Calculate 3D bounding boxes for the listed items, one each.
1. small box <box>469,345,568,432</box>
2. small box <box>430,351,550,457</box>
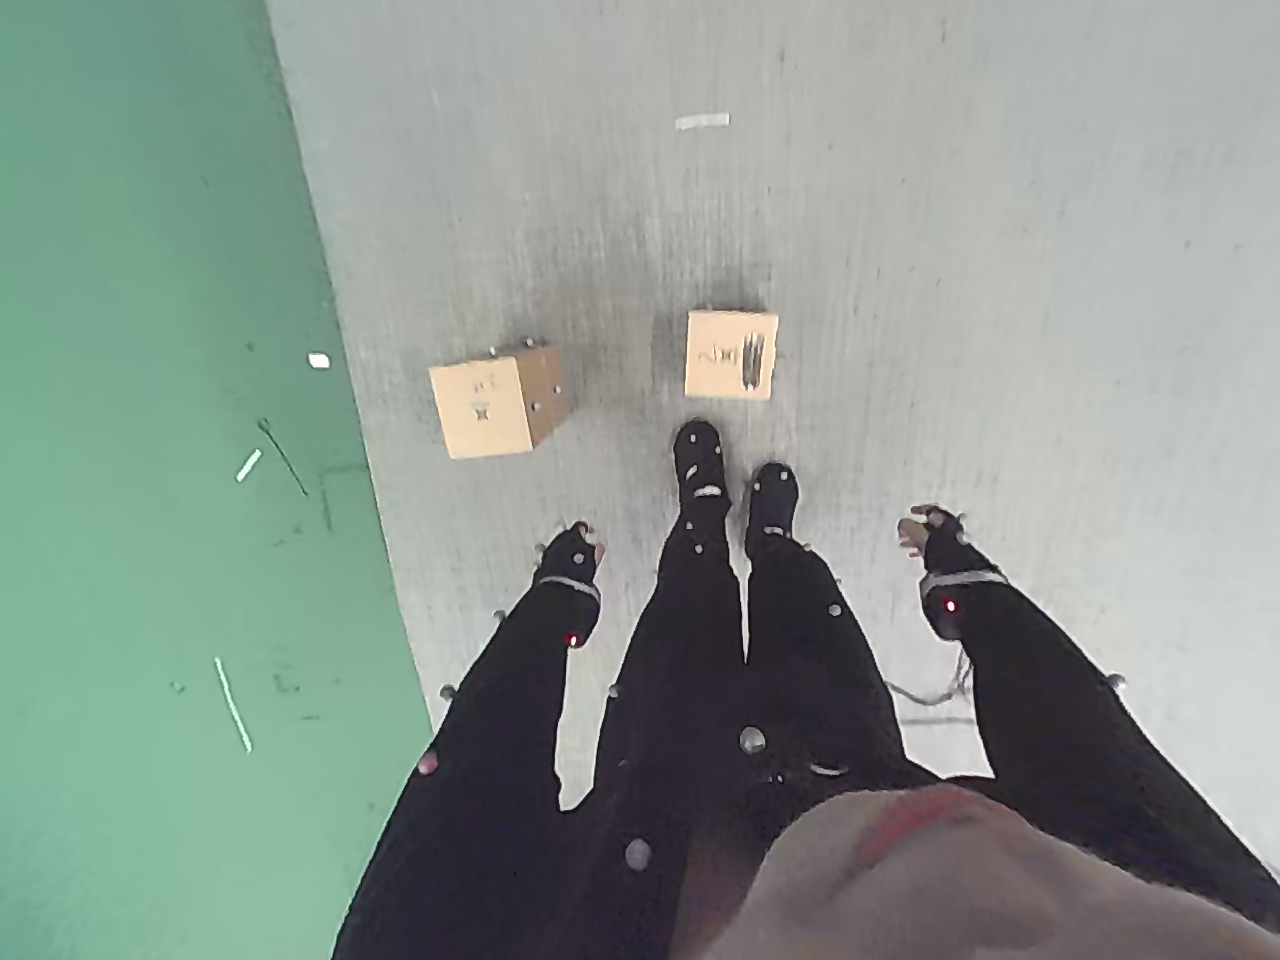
[{"bbox_3d":[-0.266,-0.208,1.227,0.168,0.176,0.179,-3,107,7],"label":"small box"},{"bbox_3d":[-0.286,-0.154,1.072,0.168,0.176,0.179,-4,107,7],"label":"small box"}]
